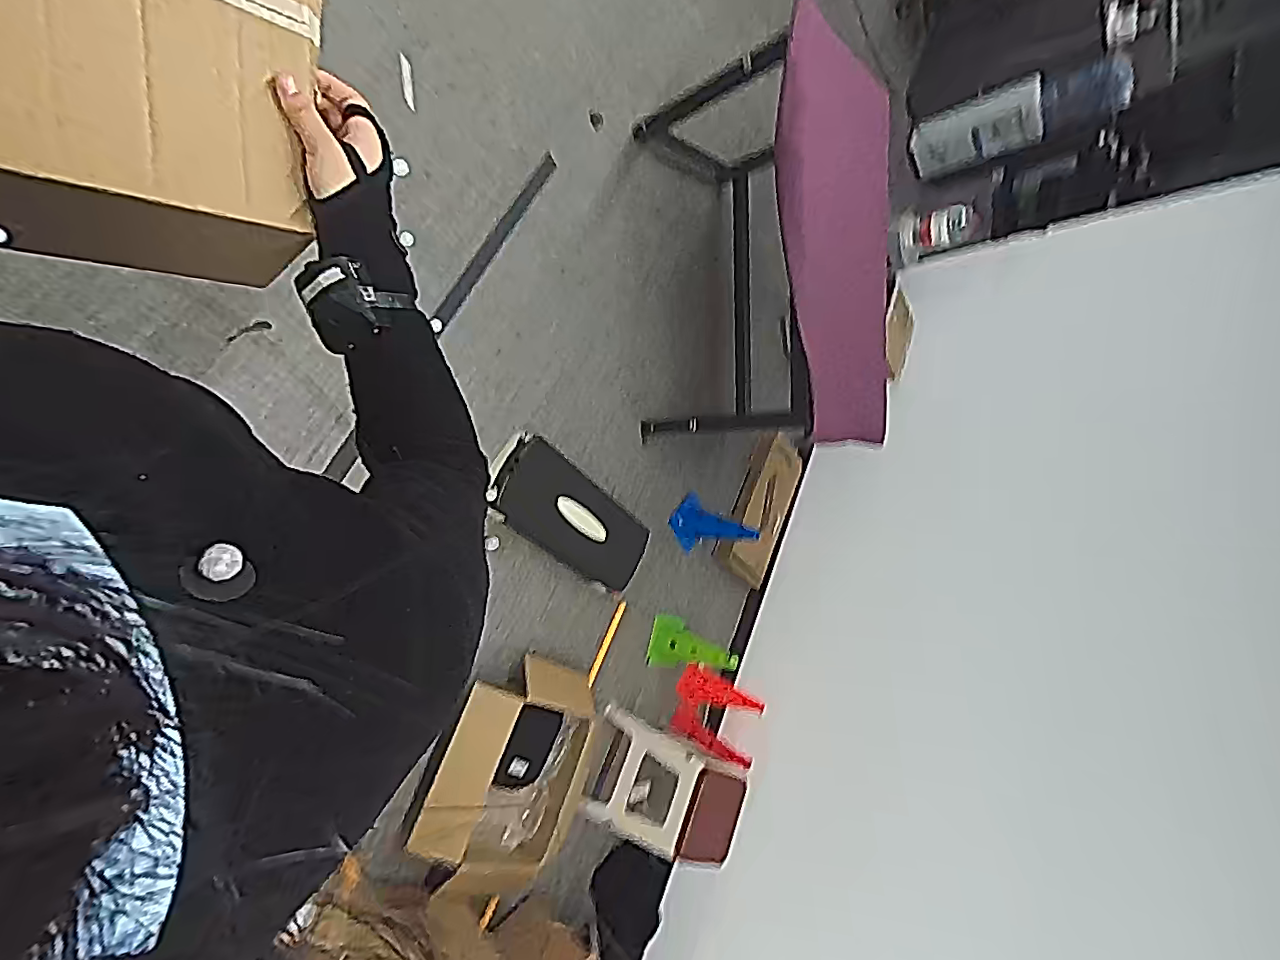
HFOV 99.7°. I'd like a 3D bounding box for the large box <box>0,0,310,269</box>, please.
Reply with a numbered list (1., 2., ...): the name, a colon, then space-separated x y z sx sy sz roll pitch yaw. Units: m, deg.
1. large box: -0.517 -0.371 0.413 0.408 0.320 0.320 -5 100 -40
